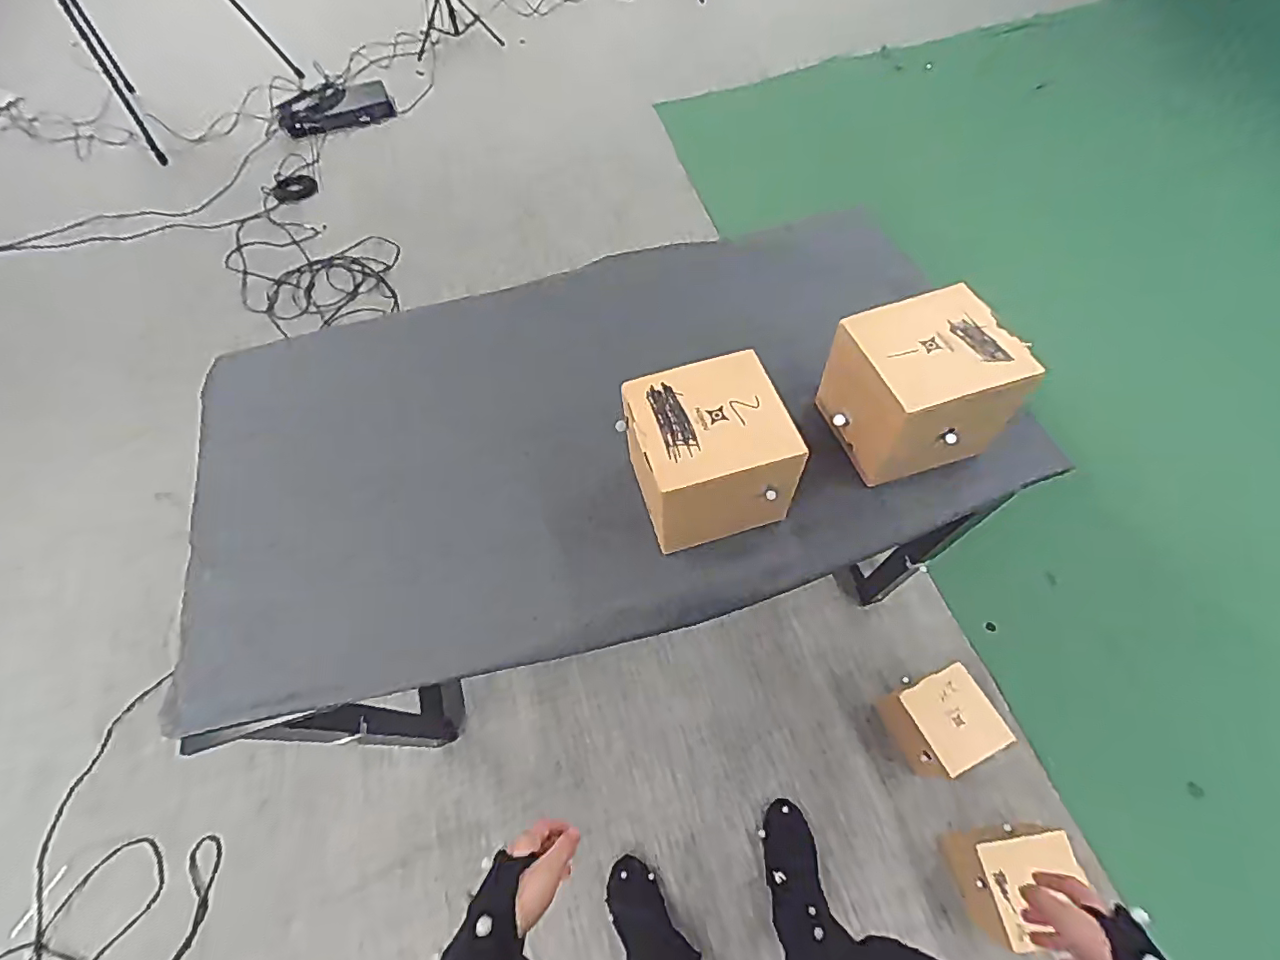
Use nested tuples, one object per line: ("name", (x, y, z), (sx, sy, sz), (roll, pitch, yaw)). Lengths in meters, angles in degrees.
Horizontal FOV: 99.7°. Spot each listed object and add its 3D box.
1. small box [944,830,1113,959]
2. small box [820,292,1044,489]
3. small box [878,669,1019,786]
("small box", (0.733, 0.792, 1.045), (0.179, 0.176, 0.168), (-9, 63, 0))
("small box", (0.365, -0.112, 0.717), (0.179, 0.176, 0.168), (-16, 58, -3))
("small box", (0.661, 0.540, 1.183), (0.168, 0.176, 0.179), (-24, 63, -9))
